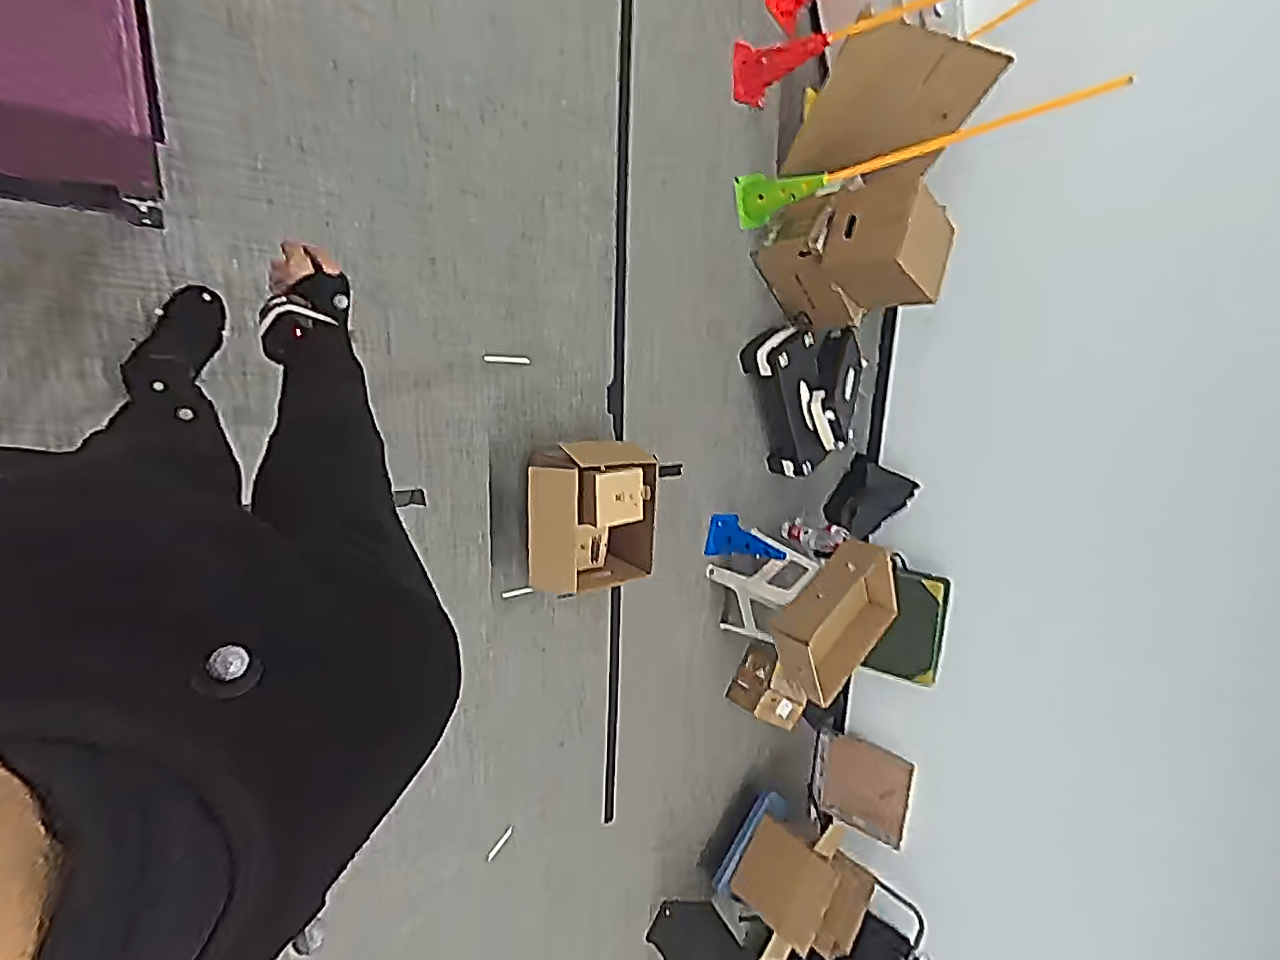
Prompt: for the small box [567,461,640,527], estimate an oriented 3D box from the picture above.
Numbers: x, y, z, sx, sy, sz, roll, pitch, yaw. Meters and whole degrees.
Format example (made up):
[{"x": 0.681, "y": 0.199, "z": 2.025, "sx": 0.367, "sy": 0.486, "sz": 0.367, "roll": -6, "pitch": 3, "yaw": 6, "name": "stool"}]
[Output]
[{"x": -0.118, "y": 0.039, "z": 1.717, "sx": 0.179, "sy": 0.176, "sz": 0.168, "roll": -9, "pitch": 107, "yaw": -38, "name": "small box"}]
